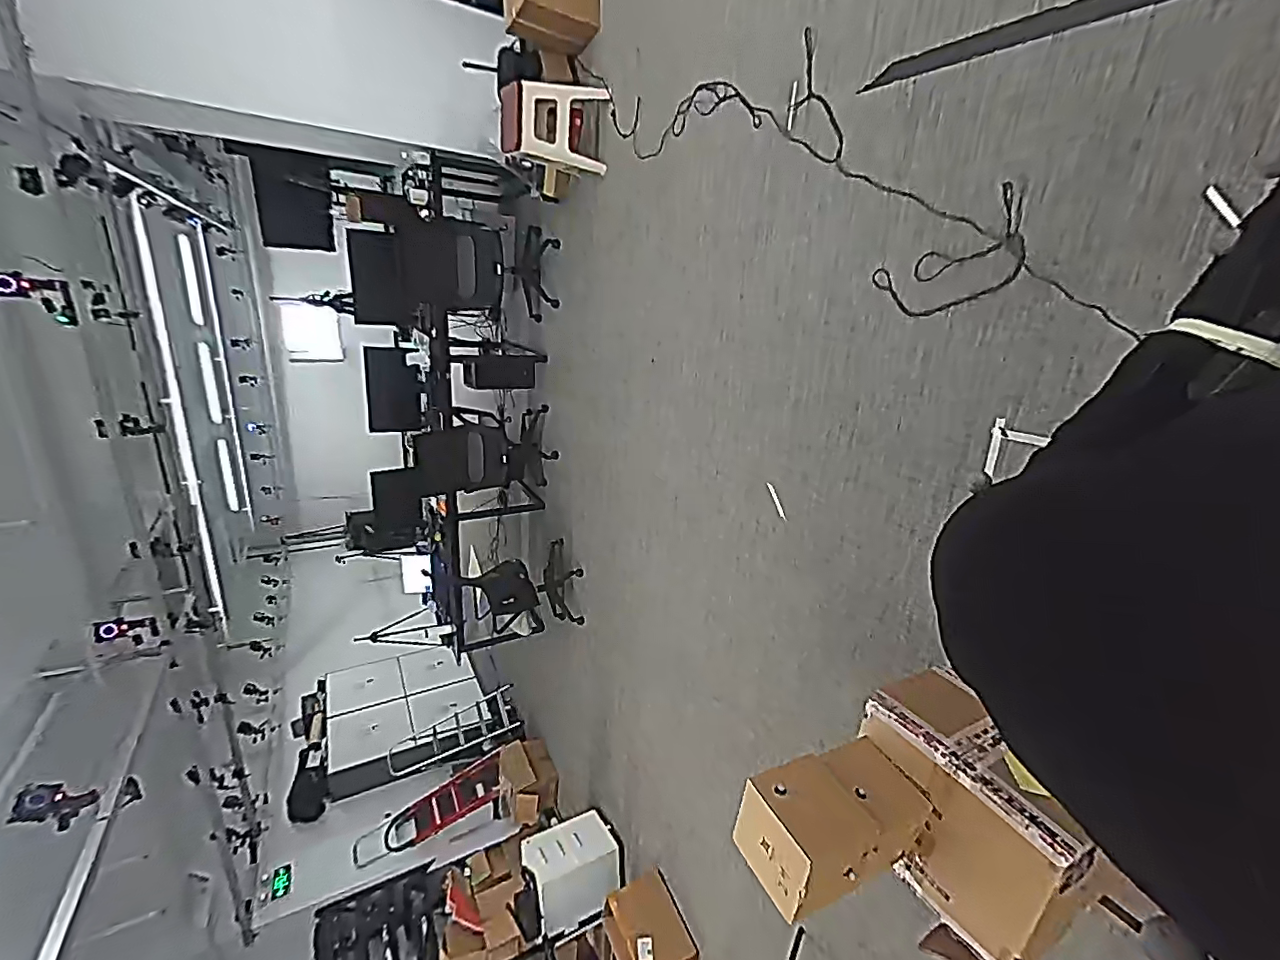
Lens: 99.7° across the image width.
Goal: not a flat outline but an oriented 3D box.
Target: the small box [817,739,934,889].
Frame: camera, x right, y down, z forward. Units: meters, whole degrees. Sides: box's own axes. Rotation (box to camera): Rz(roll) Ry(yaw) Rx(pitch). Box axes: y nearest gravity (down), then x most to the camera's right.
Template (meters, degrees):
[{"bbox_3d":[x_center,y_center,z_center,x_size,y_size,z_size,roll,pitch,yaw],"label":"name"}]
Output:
[{"bbox_3d":[0.452,0.666,1.097,0.179,0.176,0.168,44,132,53],"label":"small box"}]

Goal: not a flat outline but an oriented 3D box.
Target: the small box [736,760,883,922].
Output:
[{"bbox_3d":[0.311,0.656,1.010,0.179,0.176,0.168,40,128,55],"label":"small box"}]
